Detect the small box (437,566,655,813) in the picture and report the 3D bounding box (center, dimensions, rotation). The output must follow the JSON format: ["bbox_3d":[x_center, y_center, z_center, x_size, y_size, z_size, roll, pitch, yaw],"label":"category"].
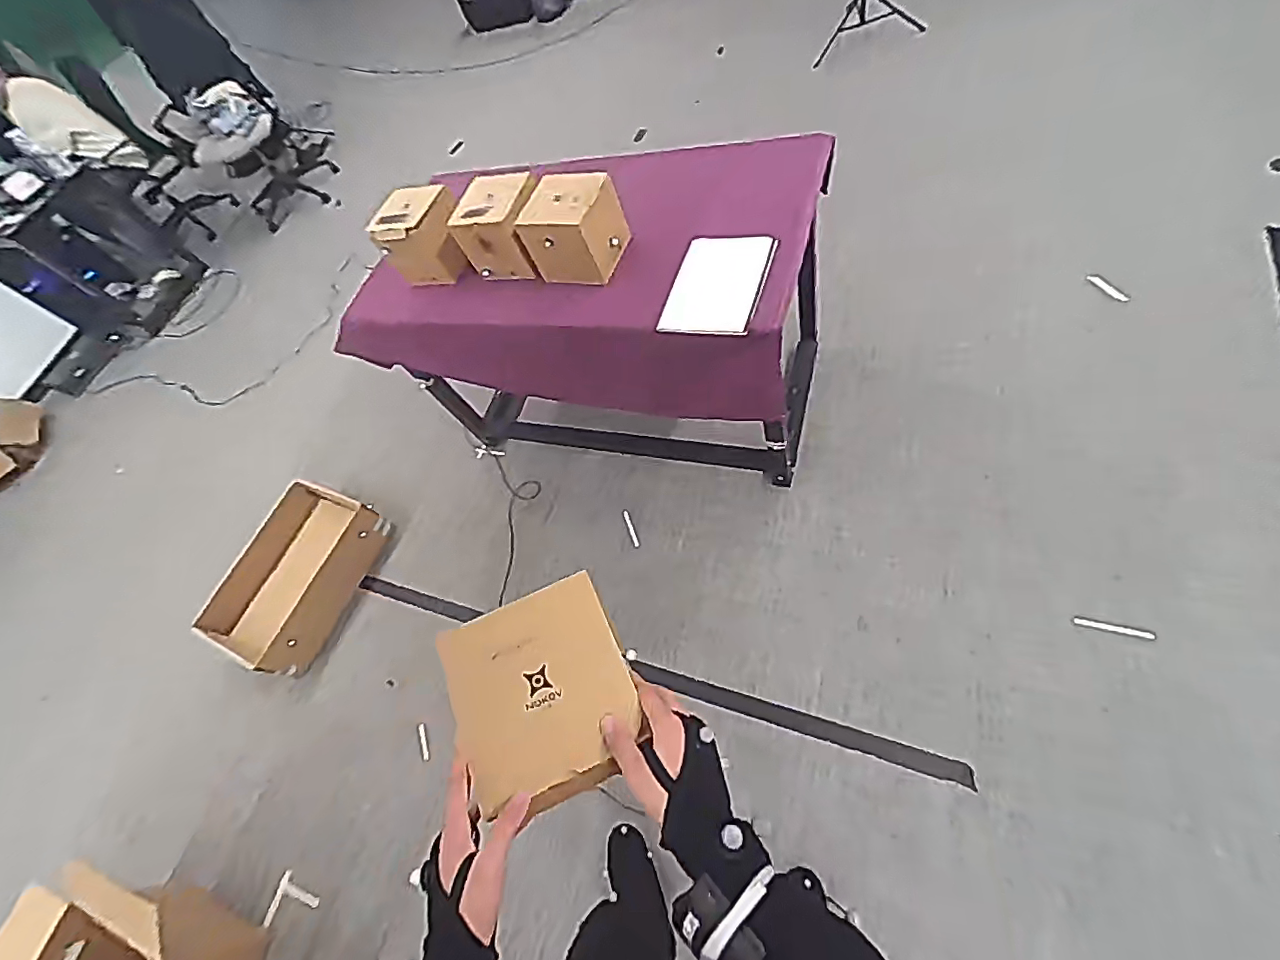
[{"bbox_3d":[-0.089,0.220,0.581,0.168,0.176,0.179,-22,65,-7],"label":"small box"}]
